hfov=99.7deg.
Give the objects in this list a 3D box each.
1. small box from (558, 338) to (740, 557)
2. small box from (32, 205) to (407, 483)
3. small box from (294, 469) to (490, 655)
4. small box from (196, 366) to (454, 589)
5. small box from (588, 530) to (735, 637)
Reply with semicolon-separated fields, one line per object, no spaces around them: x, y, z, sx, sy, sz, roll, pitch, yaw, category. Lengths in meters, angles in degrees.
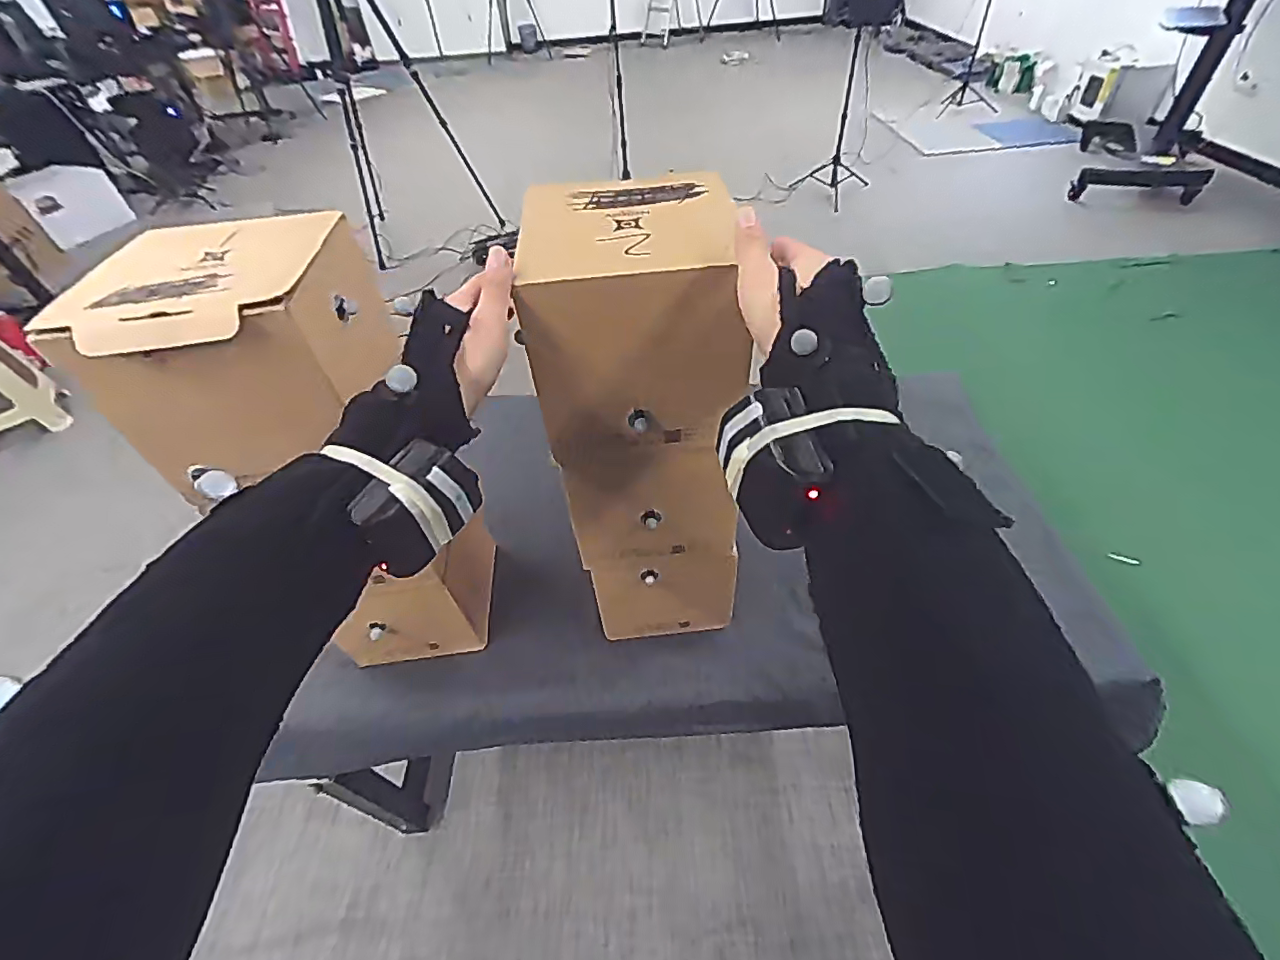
0.008;-0.029;0.586;0.168;0.176;0.179;-5;47;-1;small box
-0.318;-0.112;0.465;0.168;0.176;0.179;-8;46;-5;small box
-0.301;0.112;0.703;0.168;0.176;0.179;-7;46;-2;small box
-0.311;0.003;0.584;0.168;0.176;0.179;-7;45;-4;small box
0.022;0.082;0.708;0.168;0.176;0.179;-6;46;-1;small box
